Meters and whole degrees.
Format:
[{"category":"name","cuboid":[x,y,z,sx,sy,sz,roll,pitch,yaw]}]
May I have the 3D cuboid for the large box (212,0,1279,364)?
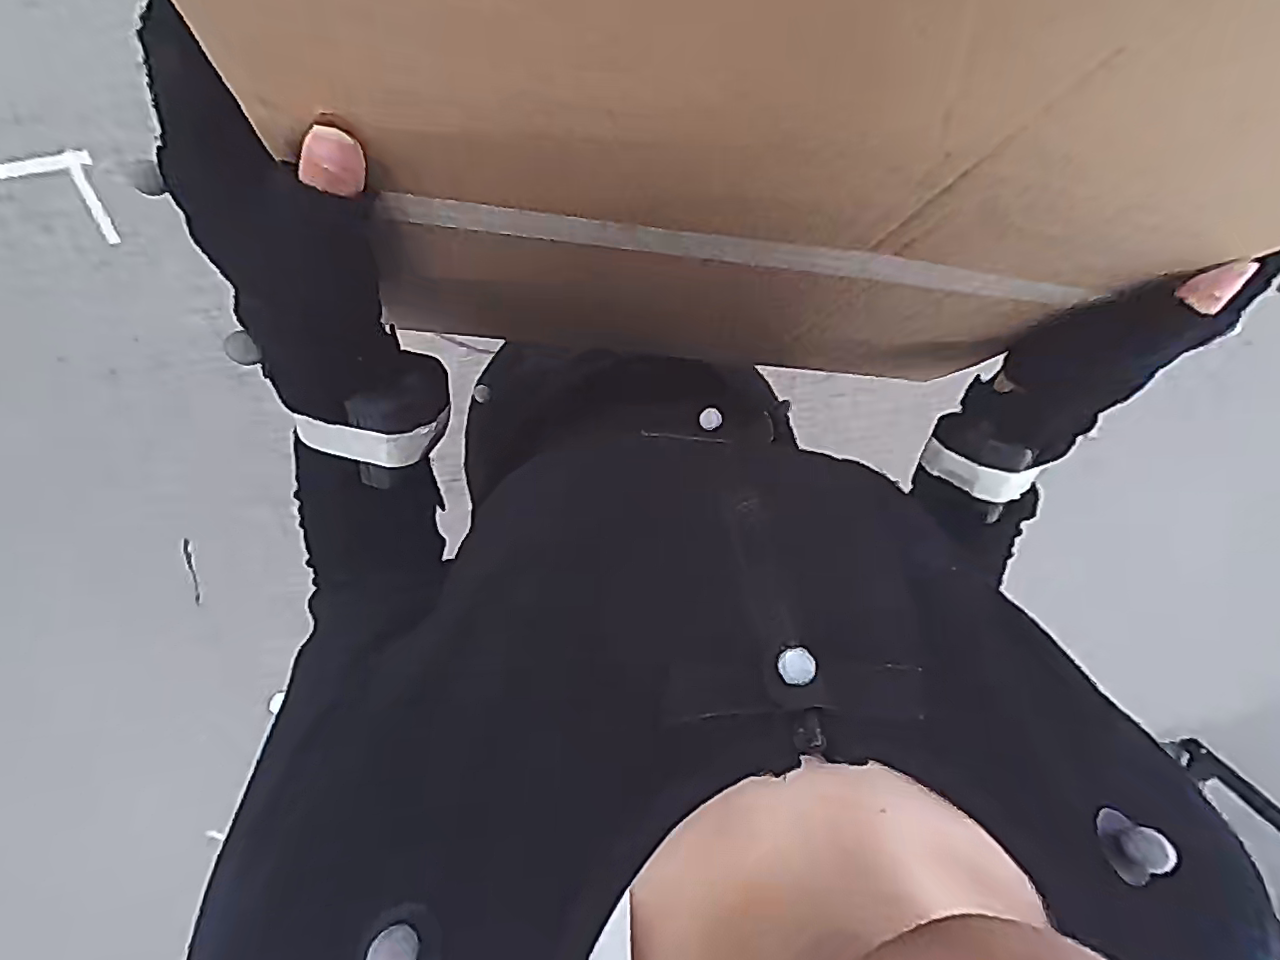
[{"category":"large box","cuboid":[0.063,-0.265,0.268,0.408,0.320,0.320,2,85,-12]}]
